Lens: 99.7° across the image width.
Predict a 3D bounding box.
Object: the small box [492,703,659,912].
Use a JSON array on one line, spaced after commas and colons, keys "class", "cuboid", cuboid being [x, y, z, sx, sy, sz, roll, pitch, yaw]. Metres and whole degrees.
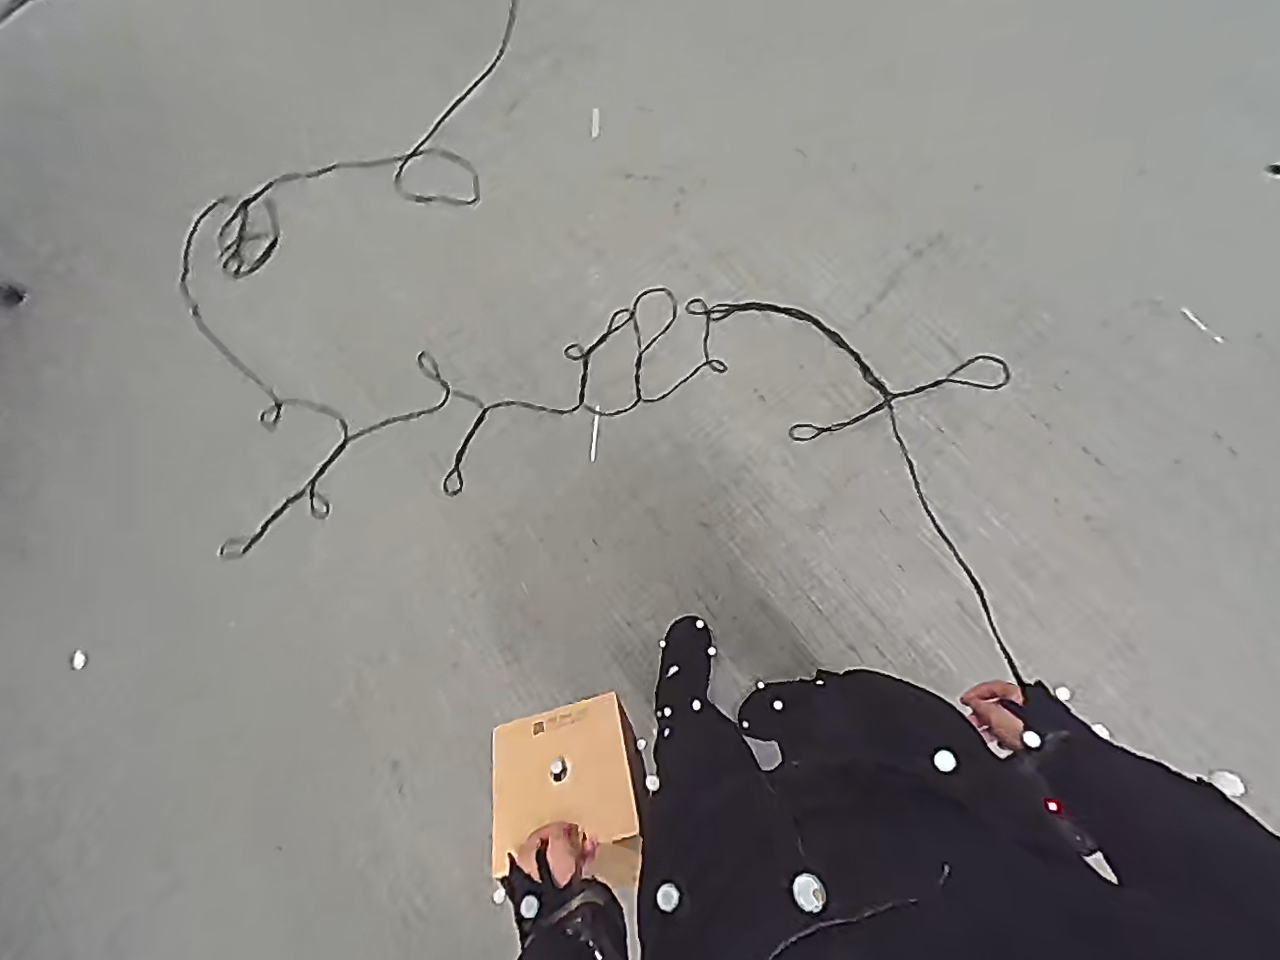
[{"class": "small box", "cuboid": [-0.083, 0.406, 0.687, 0.168, 0.179, 0.176, -14, 41, -2]}]
